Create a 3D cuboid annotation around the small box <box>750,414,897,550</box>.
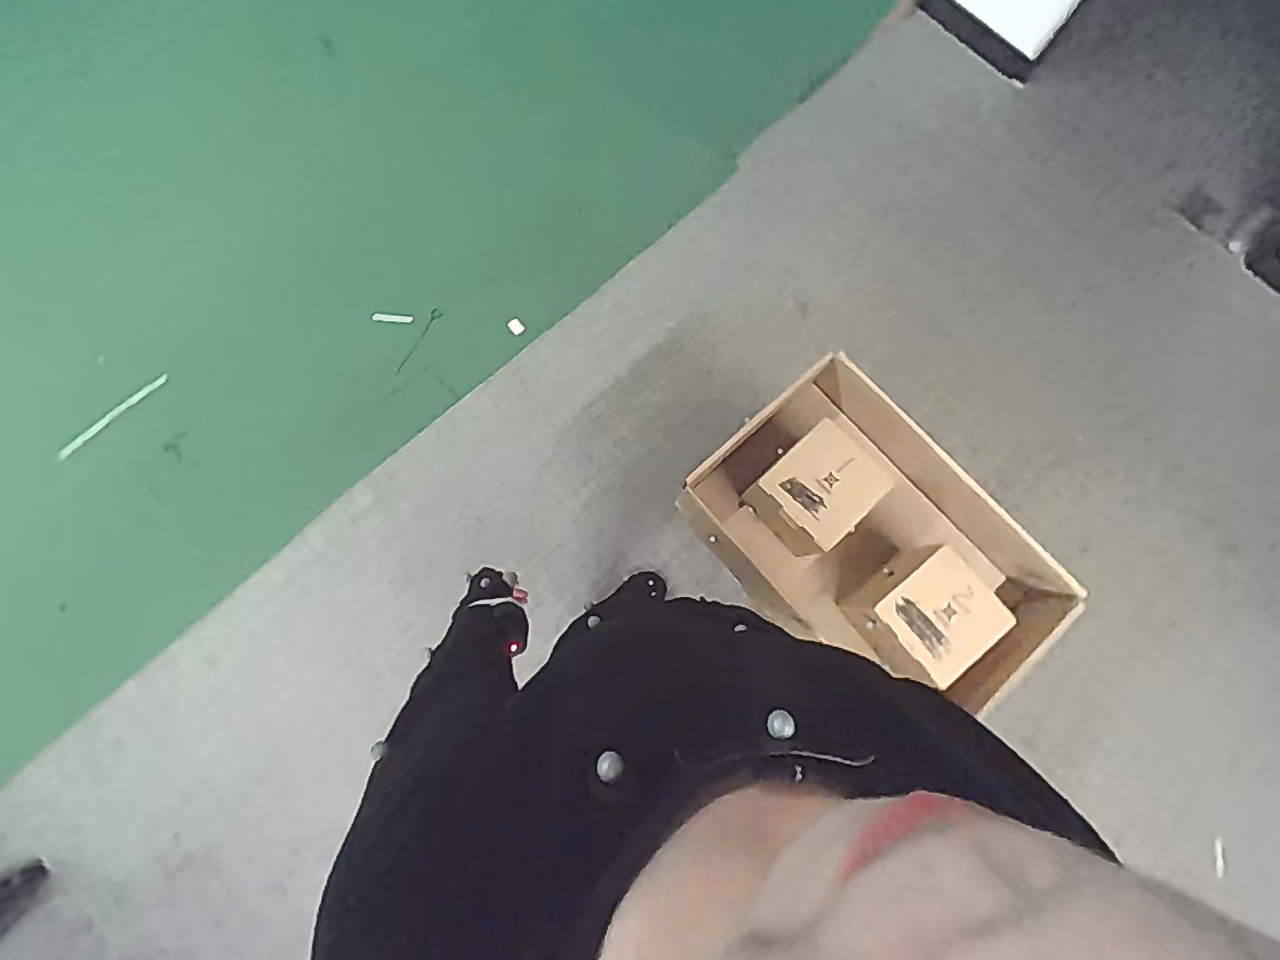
[{"bbox_3d":[0.322,0.014,0.993,0.179,0.176,0.168,-42,82,-8],"label":"small box"}]
